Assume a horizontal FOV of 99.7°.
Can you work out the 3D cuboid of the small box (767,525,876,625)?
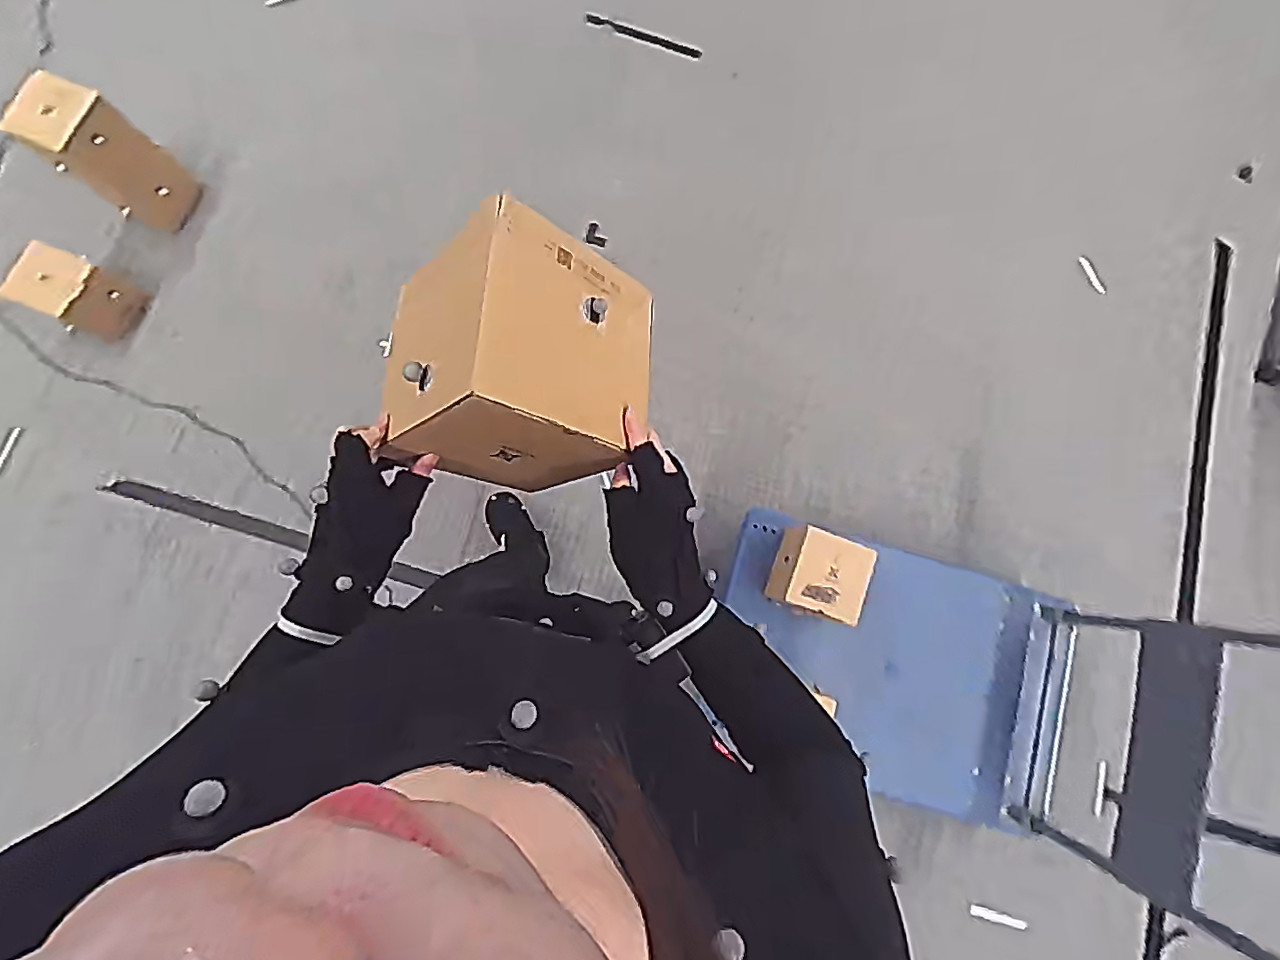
[{"bbox_3d":[0.414,0.219,1.266,0.168,0.176,0.179,22,81,0],"label":"small box"}]

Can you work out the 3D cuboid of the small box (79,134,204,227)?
[{"bbox_3d":[-1.389,-0.853,1.521,0.168,0.176,0.179,21,81,0],"label":"small box"}]

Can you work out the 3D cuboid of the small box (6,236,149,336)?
[{"bbox_3d":[-1.508,-0.514,1.466,0.179,0.176,0.168,24,81,1],"label":"small box"}]

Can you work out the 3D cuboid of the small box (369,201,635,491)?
[{"bbox_3d":[-0.115,-0.101,0.487,0.168,0.179,0.176,17,66,-43],"label":"small box"}]

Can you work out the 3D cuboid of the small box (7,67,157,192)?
[{"bbox_3d":[-1.382,-0.868,1.356,0.168,0.176,0.179,22,80,1],"label":"small box"}]
